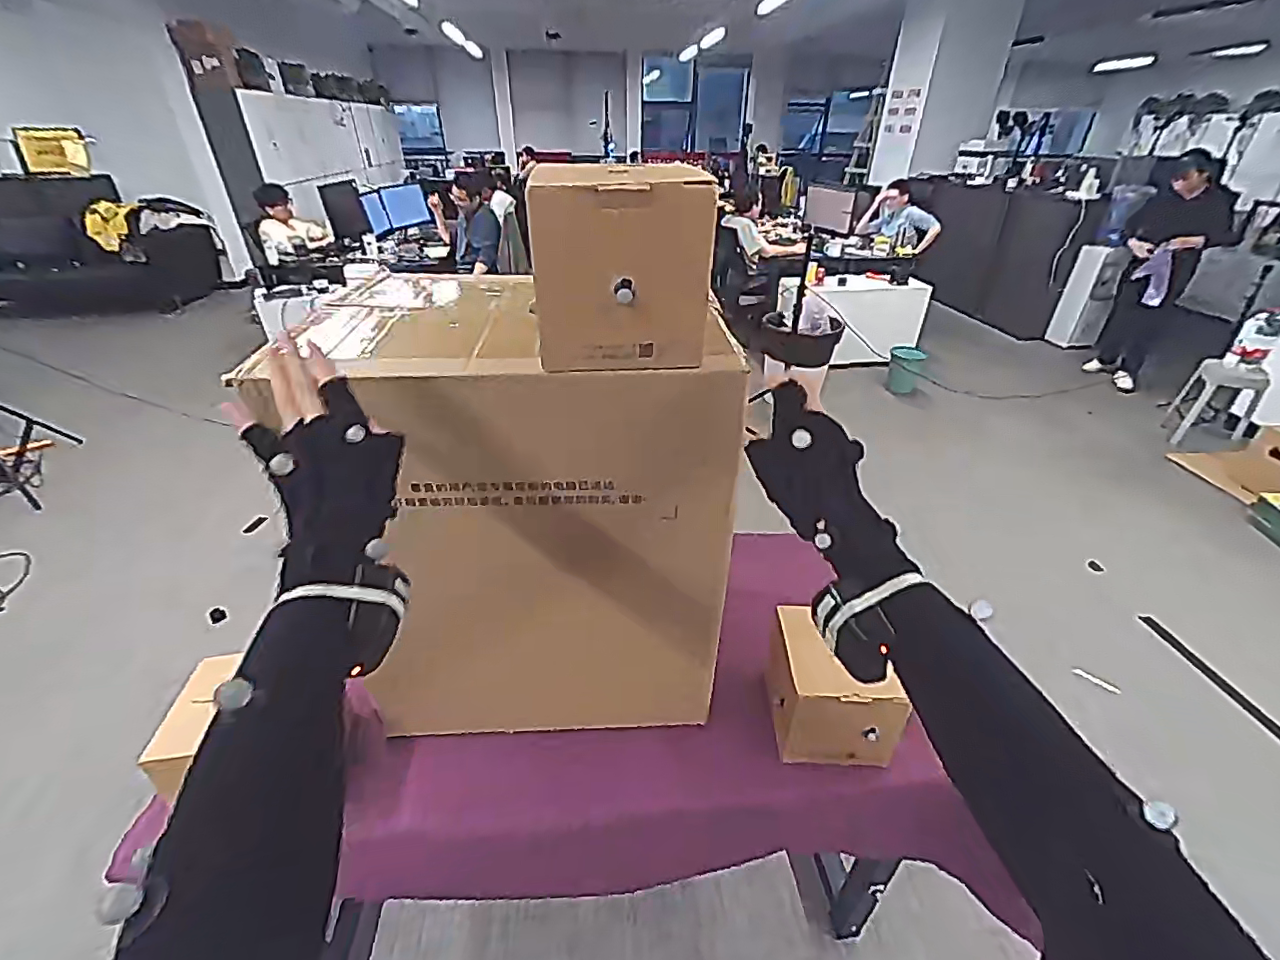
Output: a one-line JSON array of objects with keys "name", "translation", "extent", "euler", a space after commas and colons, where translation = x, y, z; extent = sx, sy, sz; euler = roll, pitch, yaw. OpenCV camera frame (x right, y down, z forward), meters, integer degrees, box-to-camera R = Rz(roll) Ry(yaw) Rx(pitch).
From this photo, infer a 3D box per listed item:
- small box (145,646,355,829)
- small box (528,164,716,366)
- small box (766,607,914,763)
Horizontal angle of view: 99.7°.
[{"name": "small box", "translation": [-0.539, 0.369, 0.783], "extent": [0.179, 0.176, 0.168], "euler": [-4, 31, -9]}, {"name": "small box", "translation": [-0.019, -0.227, 0.572], "extent": [0.168, 0.176, 0.179], "euler": [-3, 35, -4]}, {"name": "small box", "translation": [0.306, 0.327, 0.868], "extent": [0.168, 0.176, 0.179], "euler": [2, 31, 1]}]
